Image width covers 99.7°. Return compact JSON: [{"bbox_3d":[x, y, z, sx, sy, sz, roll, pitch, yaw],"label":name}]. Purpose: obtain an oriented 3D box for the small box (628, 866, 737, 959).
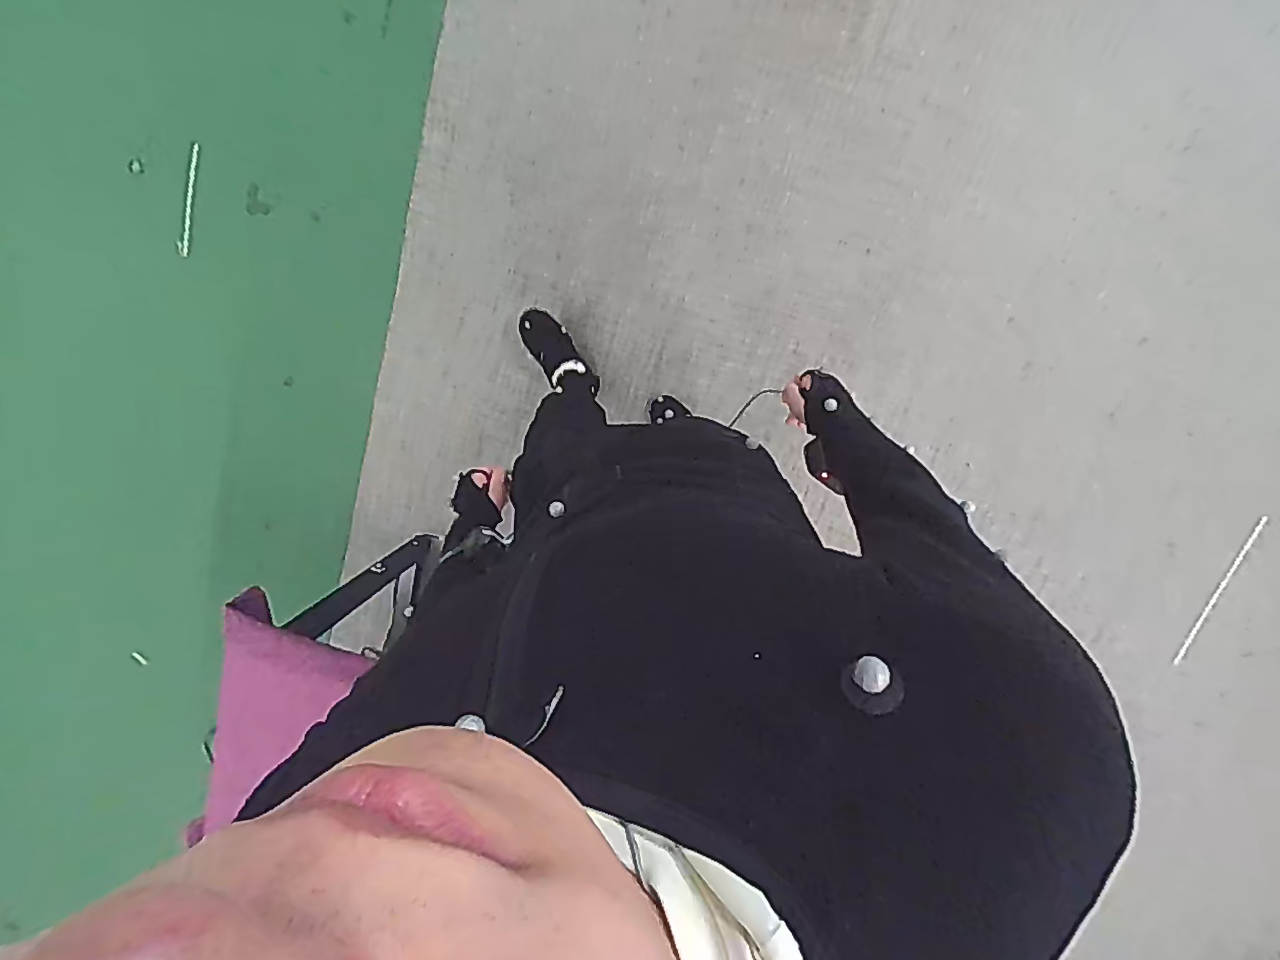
[{"bbox_3d":[0.071,0.858,0.987,0.168,0.176,0.179,14,105,3],"label":"small box"}]
